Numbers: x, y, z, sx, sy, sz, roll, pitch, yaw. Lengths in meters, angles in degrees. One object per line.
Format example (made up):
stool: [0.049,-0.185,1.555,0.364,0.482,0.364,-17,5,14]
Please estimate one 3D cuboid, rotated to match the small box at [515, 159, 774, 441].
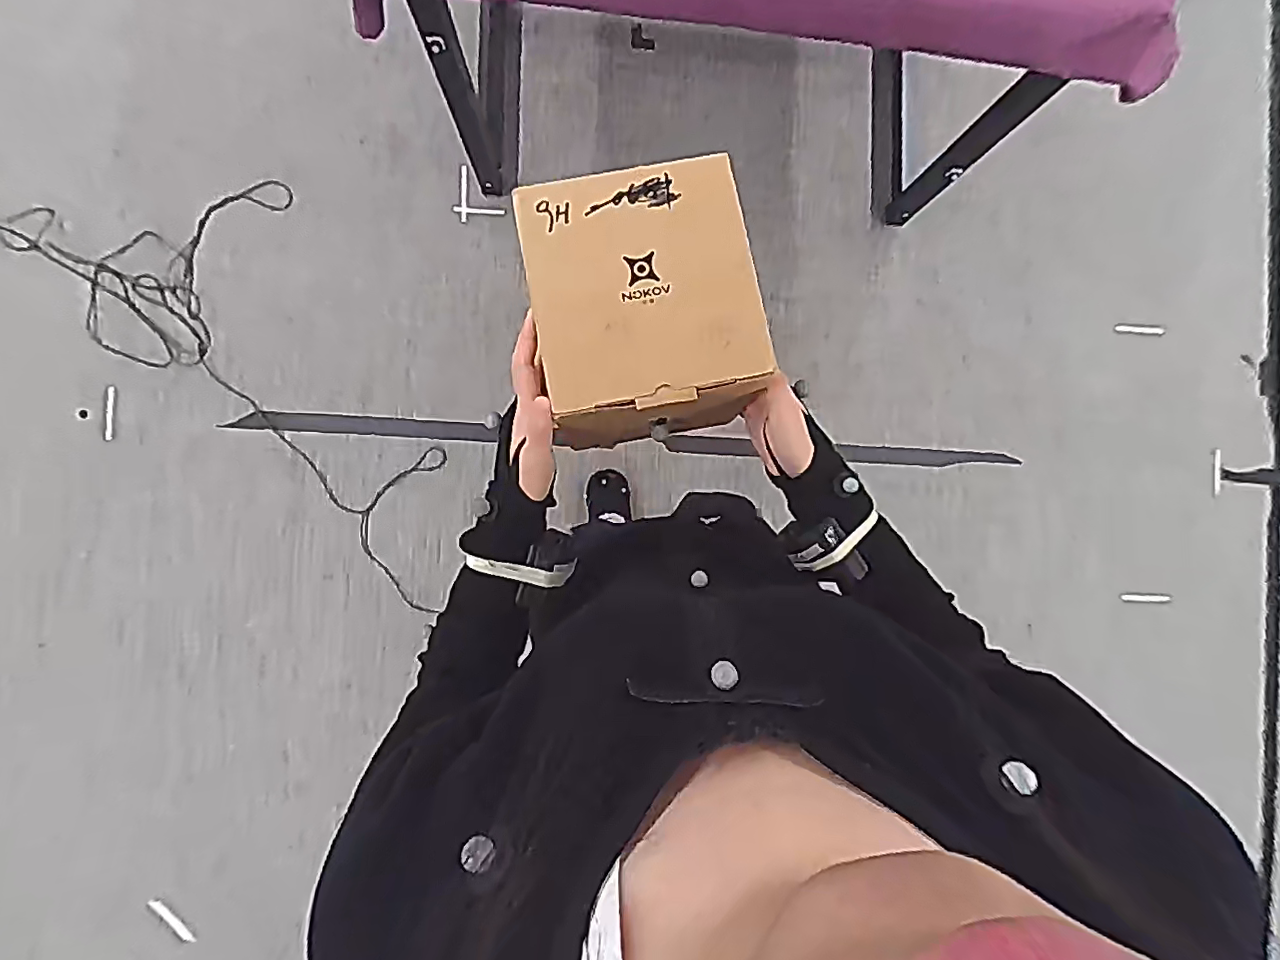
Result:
small box: [0.002,-0.136,0.478,0.168,0.176,0.179,-12,87,-2]
